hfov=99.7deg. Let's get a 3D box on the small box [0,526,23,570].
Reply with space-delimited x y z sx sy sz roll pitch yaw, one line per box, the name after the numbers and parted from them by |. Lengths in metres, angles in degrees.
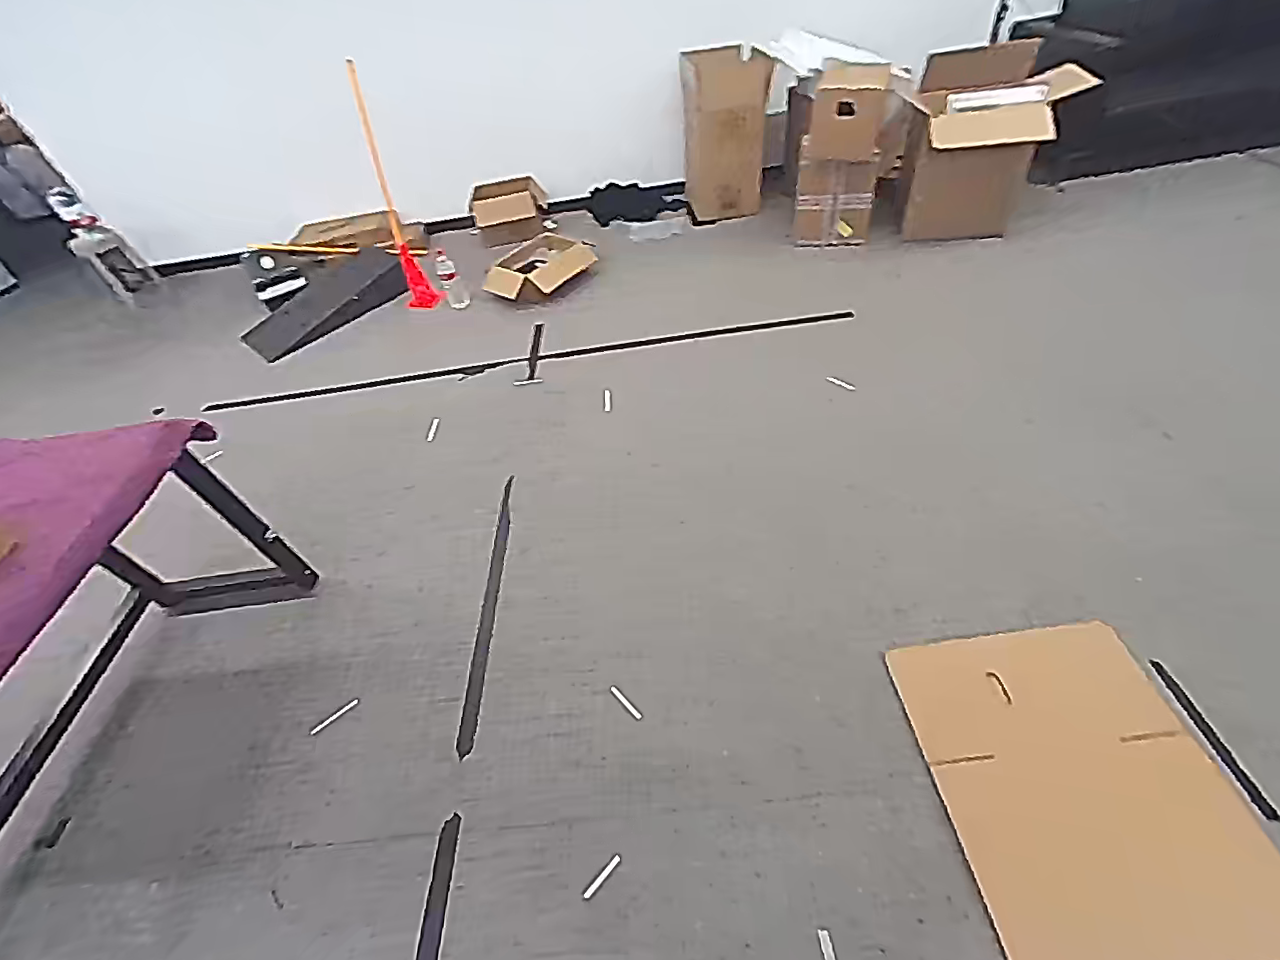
-1.437 0.150 1.084 0.168 0.176 0.179 -5 46 5 | small box
